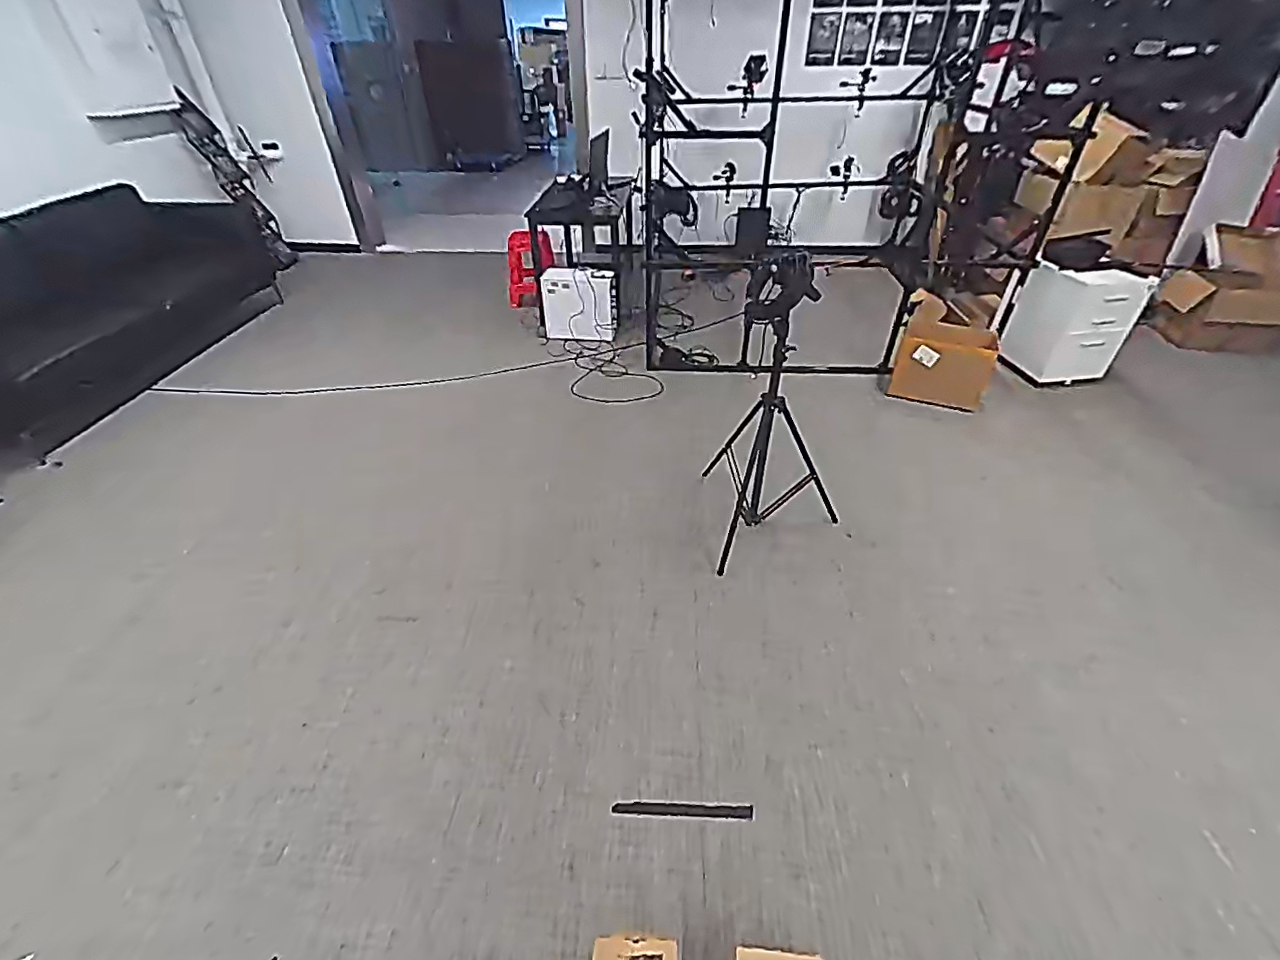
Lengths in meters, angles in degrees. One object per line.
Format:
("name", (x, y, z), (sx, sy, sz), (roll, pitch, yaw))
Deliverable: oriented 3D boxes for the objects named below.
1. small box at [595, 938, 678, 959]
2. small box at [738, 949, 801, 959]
("small box", (-0.011, 1.027, 1.052), (0.168, 0.176, 0.179), (1, 39, 3))
("small box", (0.265, 1.036, 1.037), (0.179, 0.176, 0.168), (4, 39, 5))
